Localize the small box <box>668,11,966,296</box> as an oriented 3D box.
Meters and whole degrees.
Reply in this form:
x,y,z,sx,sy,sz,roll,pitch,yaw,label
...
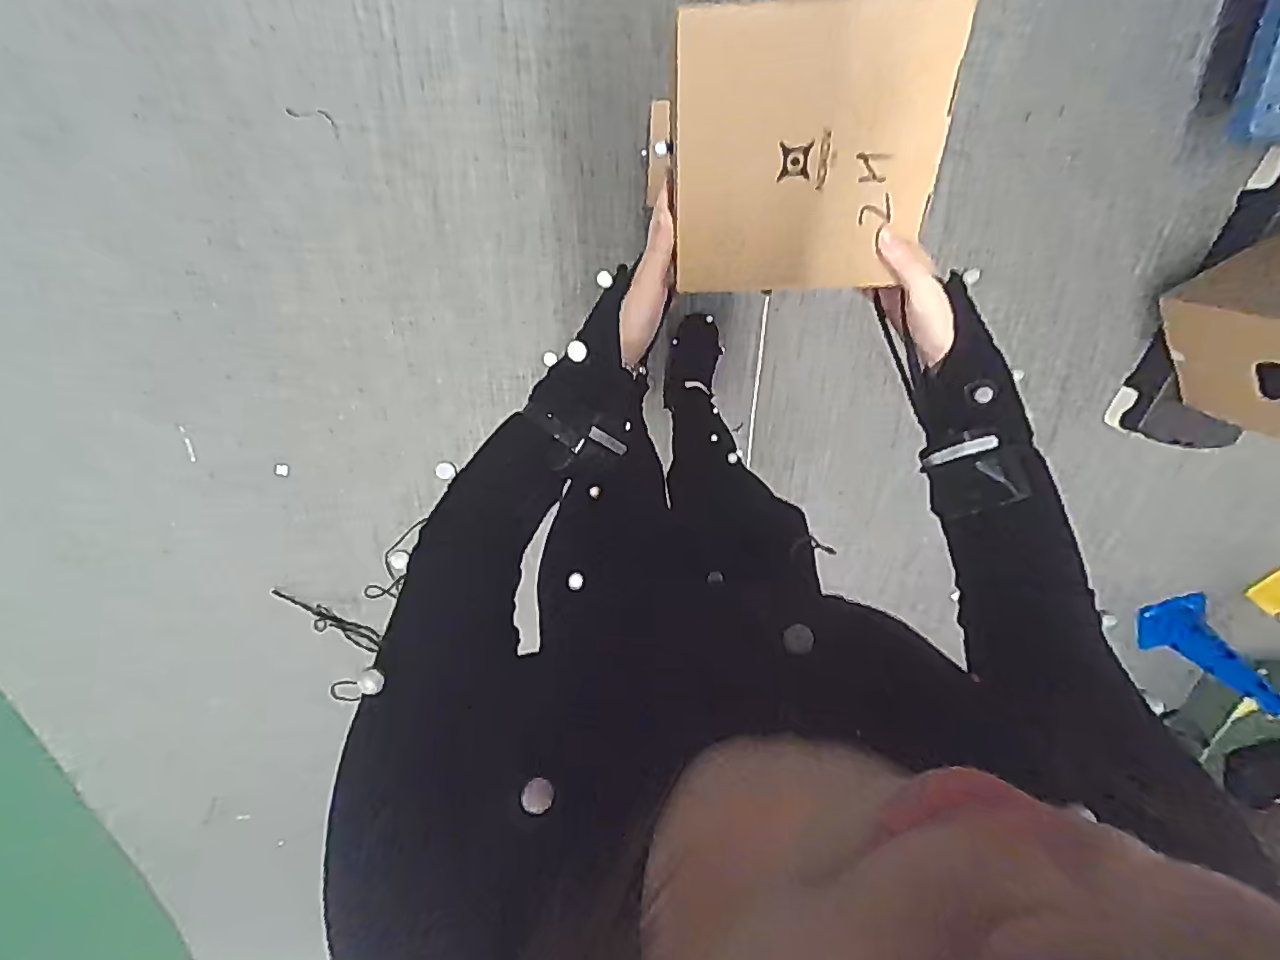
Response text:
x,y,z,sx,sy,sz,roll,pitch,yaw,label
0.111,-0.256,0.432,0.179,0.176,0.168,-2,127,2,small box

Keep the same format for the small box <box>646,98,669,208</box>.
x,y,z,sx,sy,sz,roll,pitch,yaw,label
0.098,-0.642,1.081,0.168,0.176,0.179,2,117,-2,small box
